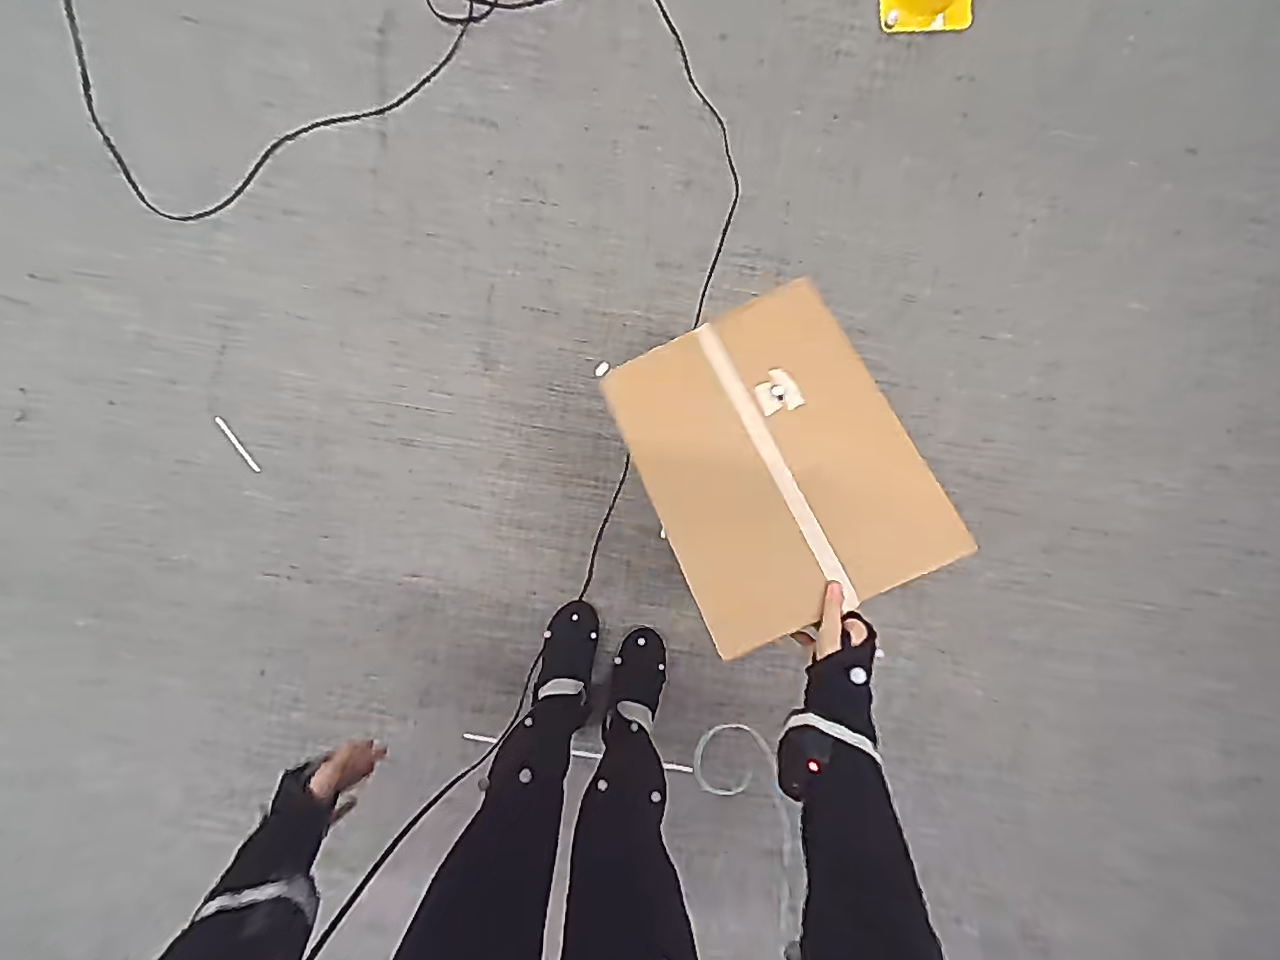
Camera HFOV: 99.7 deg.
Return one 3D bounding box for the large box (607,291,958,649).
[{"bbox_3d":[0.188,0.010,0.830,0.320,0.320,0.408,-22,71,3],"label":"large box"}]
